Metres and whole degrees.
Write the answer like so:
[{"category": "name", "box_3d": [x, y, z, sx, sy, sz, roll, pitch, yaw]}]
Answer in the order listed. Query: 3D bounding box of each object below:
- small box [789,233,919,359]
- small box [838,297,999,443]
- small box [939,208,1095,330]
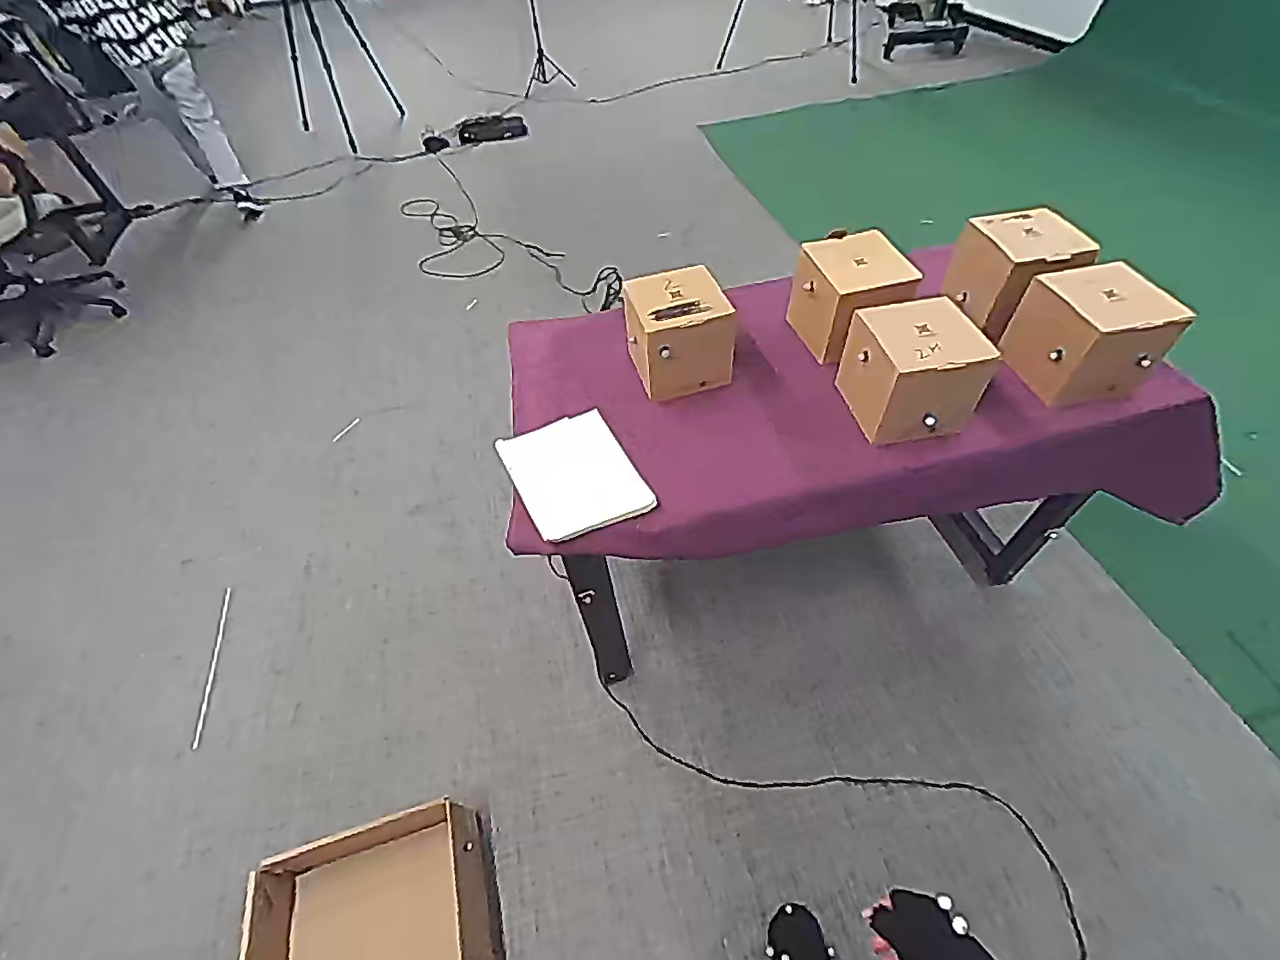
[{"category": "small box", "box_3d": [0.415, -0.360, 1.083, 0.168, 0.176, 0.179, -14, 51, -6]}, {"category": "small box", "box_3d": [0.464, -0.189, 0.939, 0.168, 0.176, 0.179, -10, 51, -2]}, {"category": "small box", "box_3d": [0.749, -0.420, 1.098, 0.168, 0.176, 0.179, -8, 52, -1]}]
